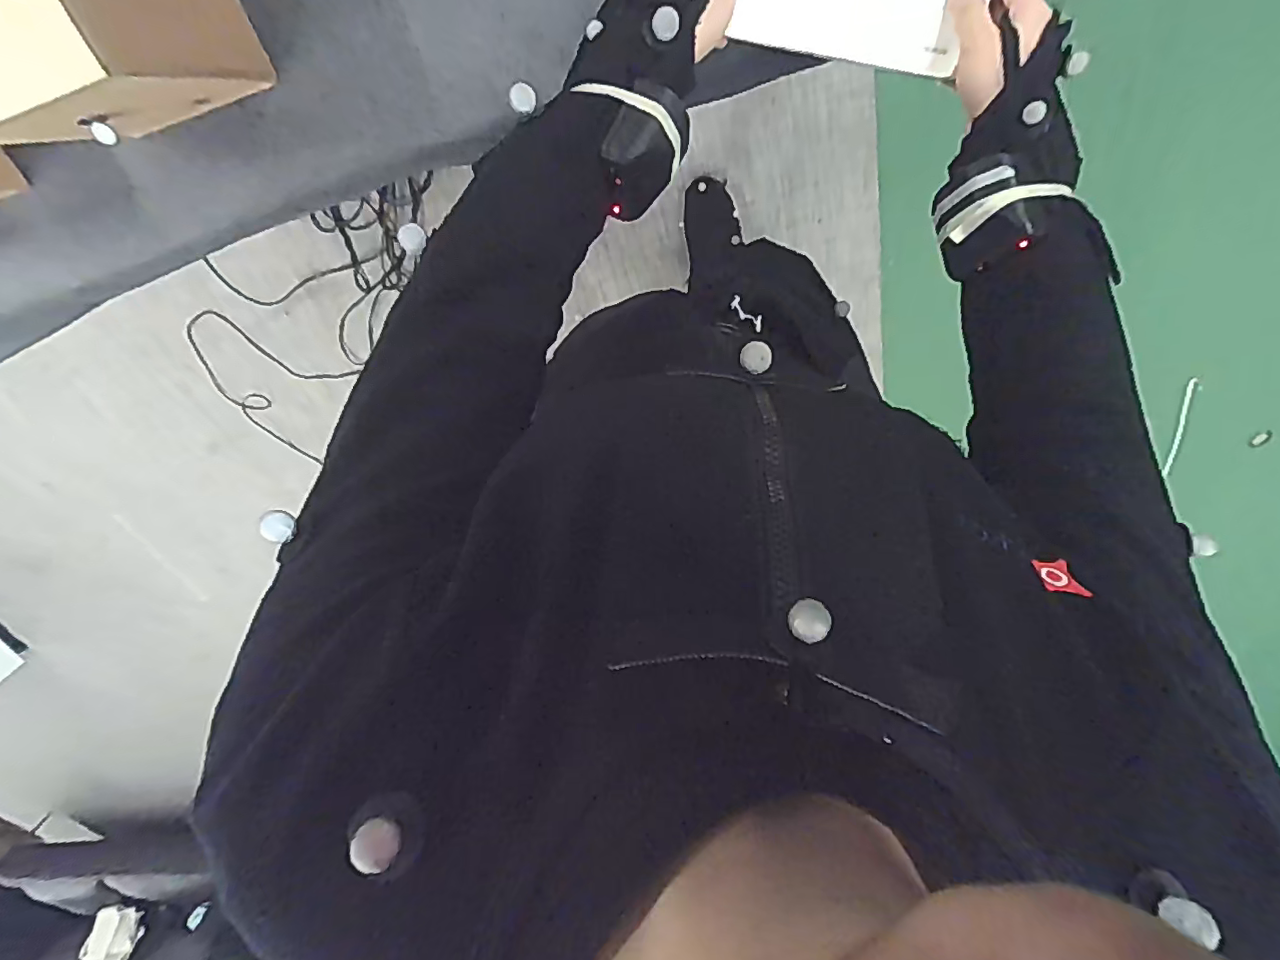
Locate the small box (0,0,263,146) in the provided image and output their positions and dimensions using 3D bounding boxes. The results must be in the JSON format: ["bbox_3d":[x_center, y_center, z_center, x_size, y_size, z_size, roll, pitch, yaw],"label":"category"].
[{"bbox_3d":[-0.416,-0.347,0.368,0.168,0.176,0.179,-8,122,13],"label":"small box"}]
